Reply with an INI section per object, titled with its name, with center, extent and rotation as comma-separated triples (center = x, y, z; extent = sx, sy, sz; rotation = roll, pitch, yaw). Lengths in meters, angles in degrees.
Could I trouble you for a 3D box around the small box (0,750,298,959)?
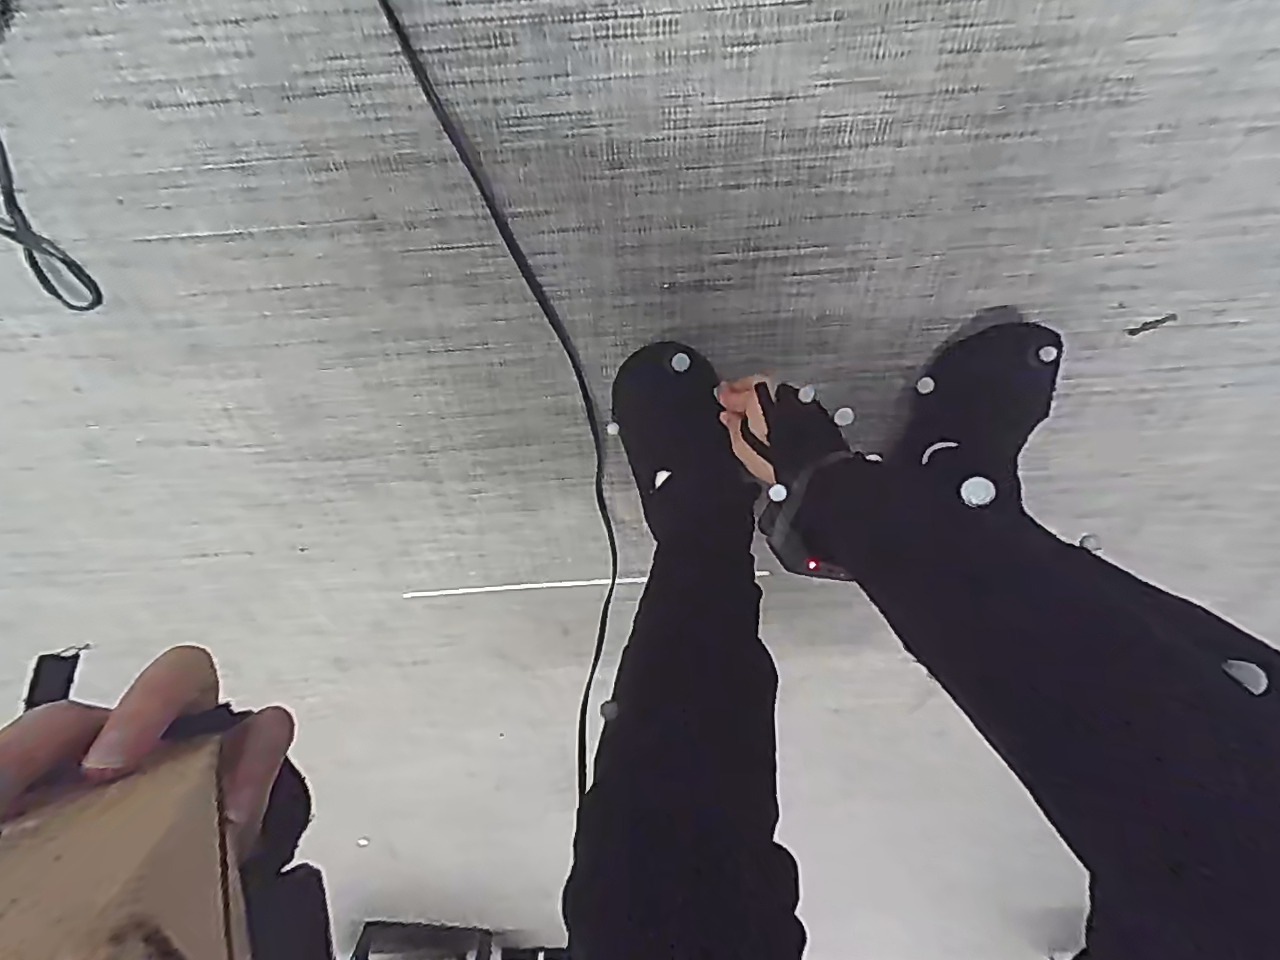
[small box]
center = -0.144, 0.159, 0.074
extent = 0.176, 0.168, 0.179
rotation = -8, 170, -37
